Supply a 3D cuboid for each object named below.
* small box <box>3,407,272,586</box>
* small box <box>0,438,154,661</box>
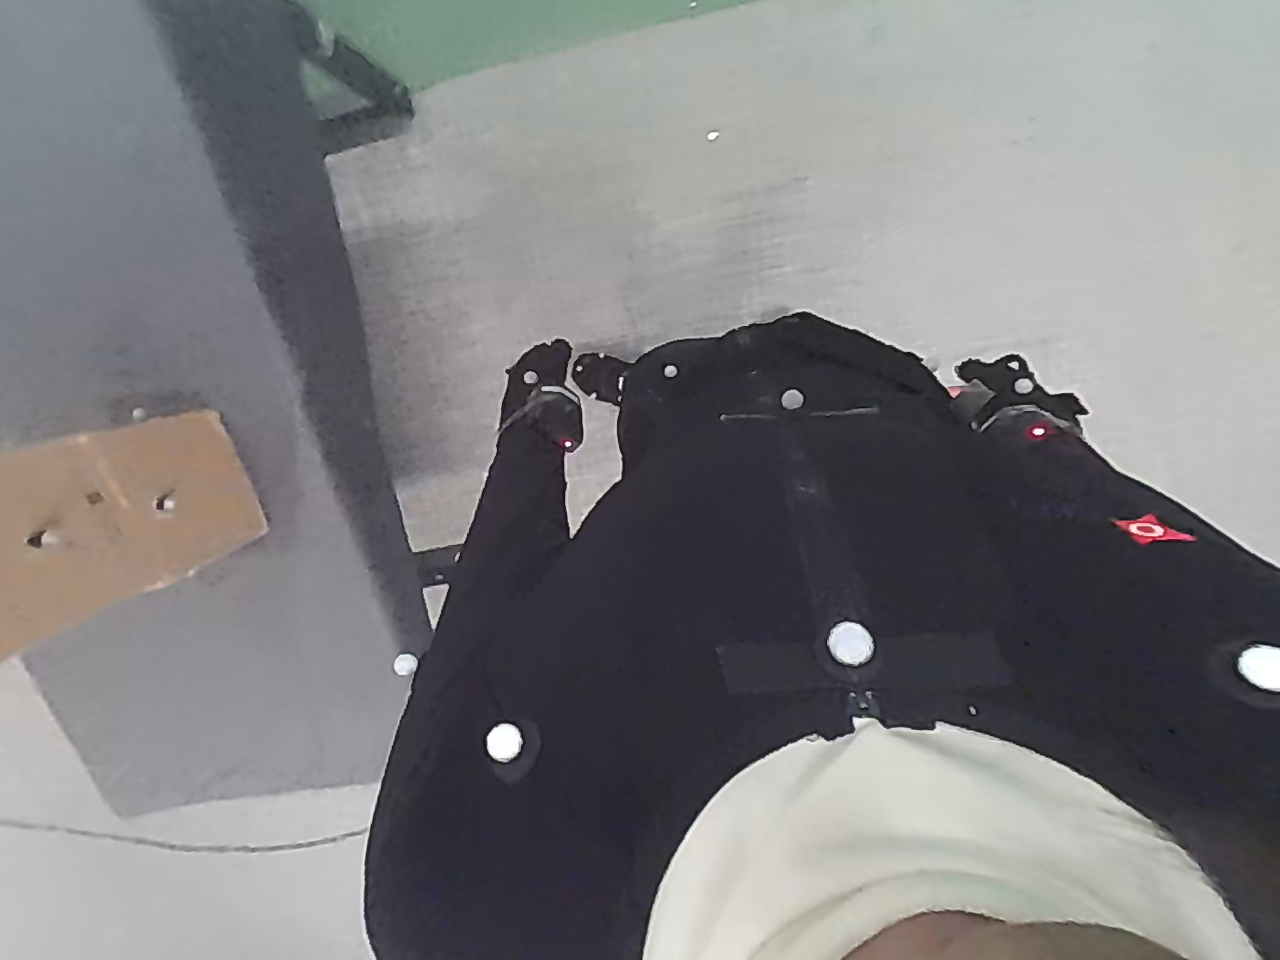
[{"bbox_3d":[-0.606,0.020,0.666,0.168,0.176,0.179,-12,105,7],"label":"small box"},{"bbox_3d":[-0.623,0.069,0.511,0.179,0.176,0.168,-13,106,7],"label":"small box"}]
